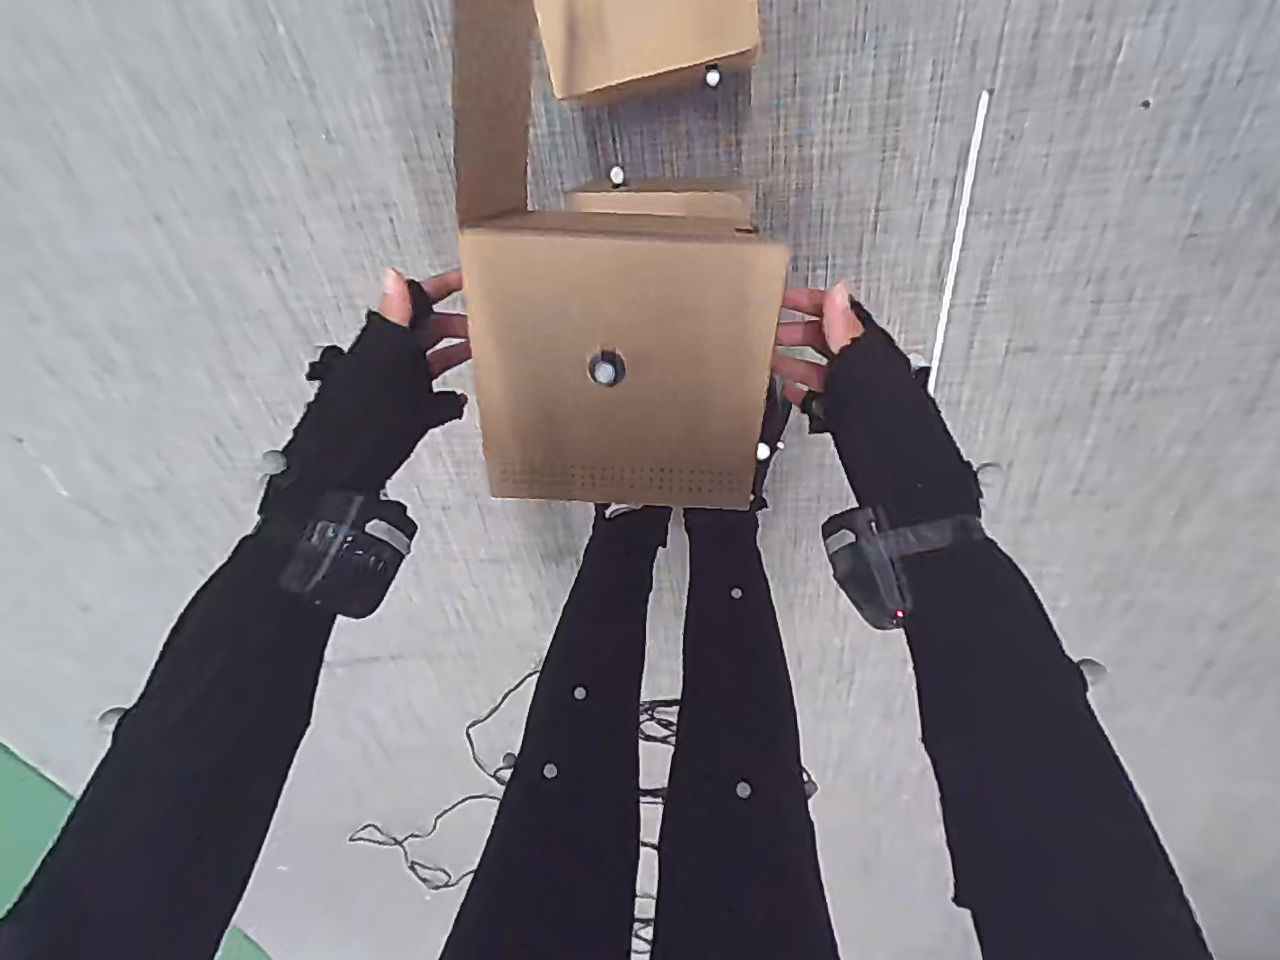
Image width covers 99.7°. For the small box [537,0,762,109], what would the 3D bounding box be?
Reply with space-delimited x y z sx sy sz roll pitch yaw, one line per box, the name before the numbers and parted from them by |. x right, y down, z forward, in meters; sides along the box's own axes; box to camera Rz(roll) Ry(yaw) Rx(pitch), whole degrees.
small box | 0.009 -0.444 0.476 0.179 0.176 0.168 -6 121 12

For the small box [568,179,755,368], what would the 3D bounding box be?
small box | 0.028 -0.235 0.604 0.179 0.176 0.168 3 123 6
